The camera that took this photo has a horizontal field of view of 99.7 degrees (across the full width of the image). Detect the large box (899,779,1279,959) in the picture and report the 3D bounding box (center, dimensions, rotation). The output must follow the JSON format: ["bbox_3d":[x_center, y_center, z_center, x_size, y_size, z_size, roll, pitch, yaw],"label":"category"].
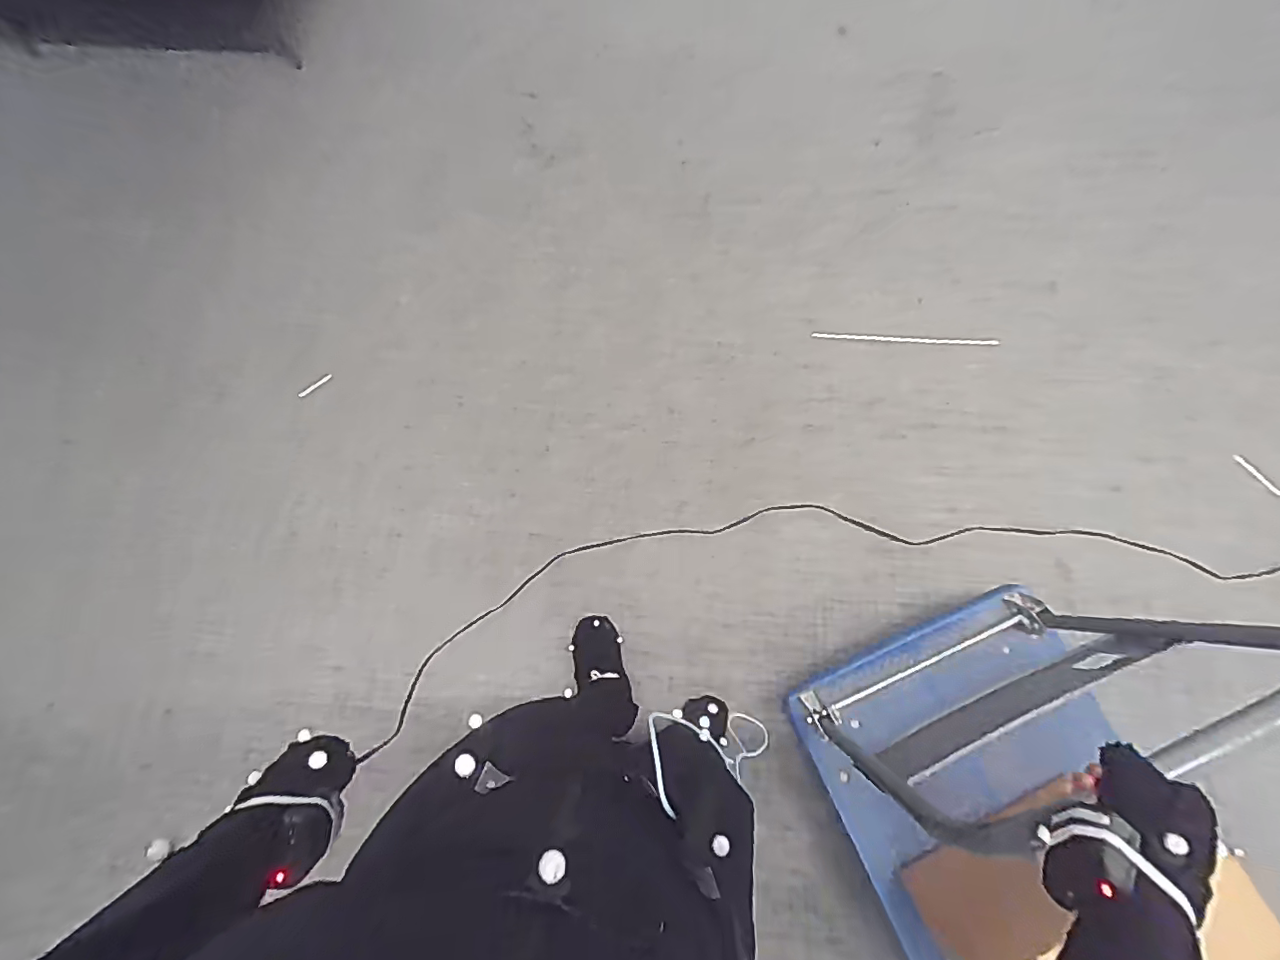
[{"bbox_3d":[0.733,0.780,0.884,0.408,0.320,0.320,-28,80,-5],"label":"large box"}]
